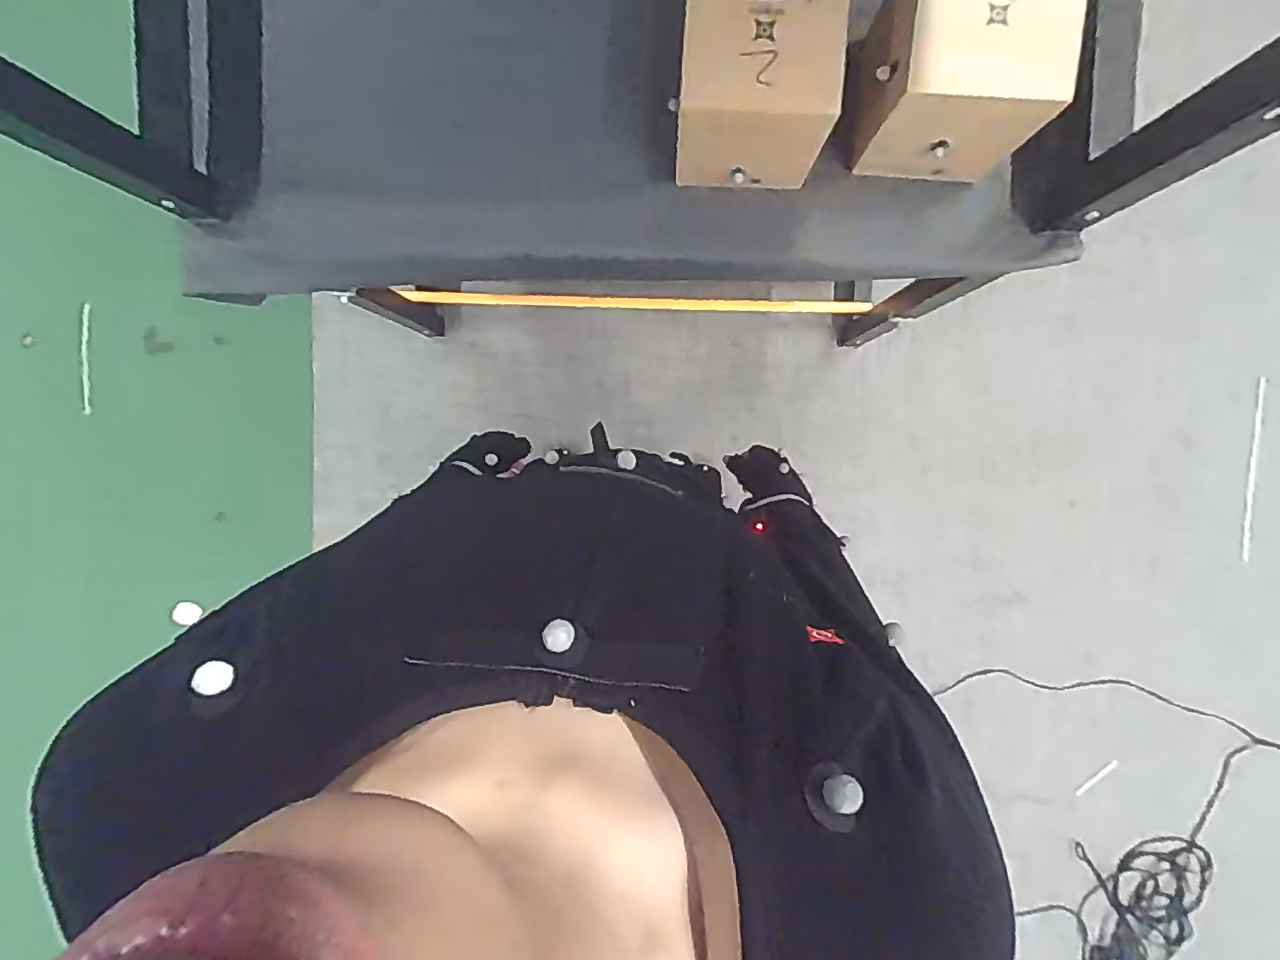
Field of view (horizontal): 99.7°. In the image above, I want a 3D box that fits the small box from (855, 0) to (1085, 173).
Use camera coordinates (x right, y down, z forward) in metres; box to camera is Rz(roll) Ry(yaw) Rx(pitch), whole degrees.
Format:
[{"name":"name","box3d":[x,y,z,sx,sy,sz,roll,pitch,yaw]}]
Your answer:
[{"name":"small box","box3d":[0.360,-0.480,0.617,0.168,0.176,0.179,5,94,2]}]
